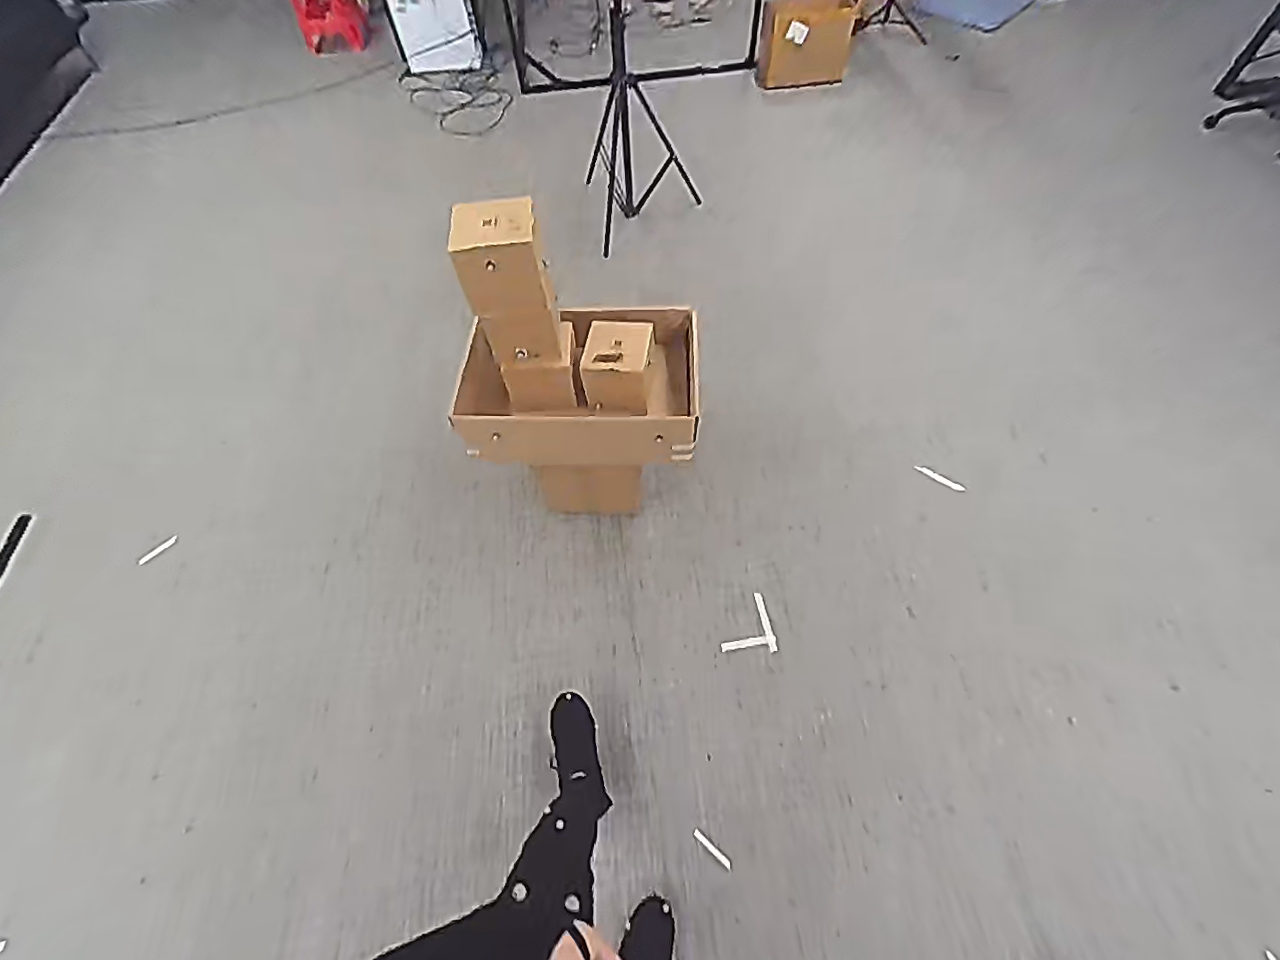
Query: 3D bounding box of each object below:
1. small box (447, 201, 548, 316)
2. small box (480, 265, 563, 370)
[{"bbox_3d":[-0.305,-0.484,1.195,0.179,0.176,0.168,-7,58,-1],"label":"small box"},{"bbox_3d":[-0.287,-0.398,1.334,0.168,0.176,0.179,-7,57,-1],"label":"small box"}]
